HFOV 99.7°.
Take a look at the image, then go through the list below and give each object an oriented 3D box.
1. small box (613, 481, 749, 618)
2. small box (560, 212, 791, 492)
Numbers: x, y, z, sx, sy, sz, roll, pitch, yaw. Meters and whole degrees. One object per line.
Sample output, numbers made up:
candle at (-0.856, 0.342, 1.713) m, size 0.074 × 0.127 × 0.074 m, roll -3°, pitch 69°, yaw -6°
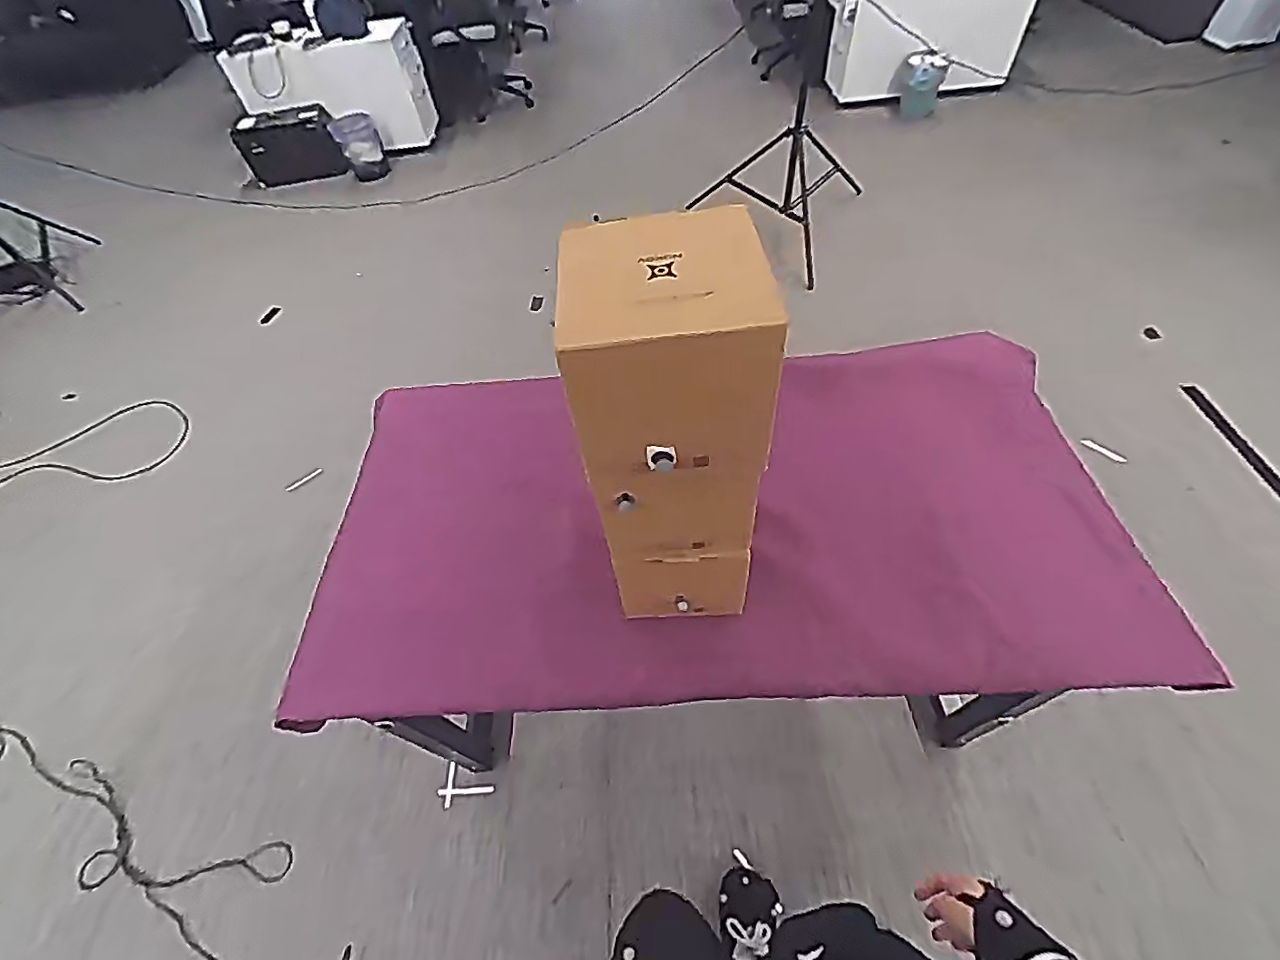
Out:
small box at (0.056, 0.077, 0.756) m, size 0.168 × 0.176 × 0.179 m, roll -3°, pitch 53°, yaw 4°
small box at (0.026, -0.112, 0.491) m, size 0.168 × 0.176 × 0.179 m, roll -7°, pitch 53°, yaw 2°
